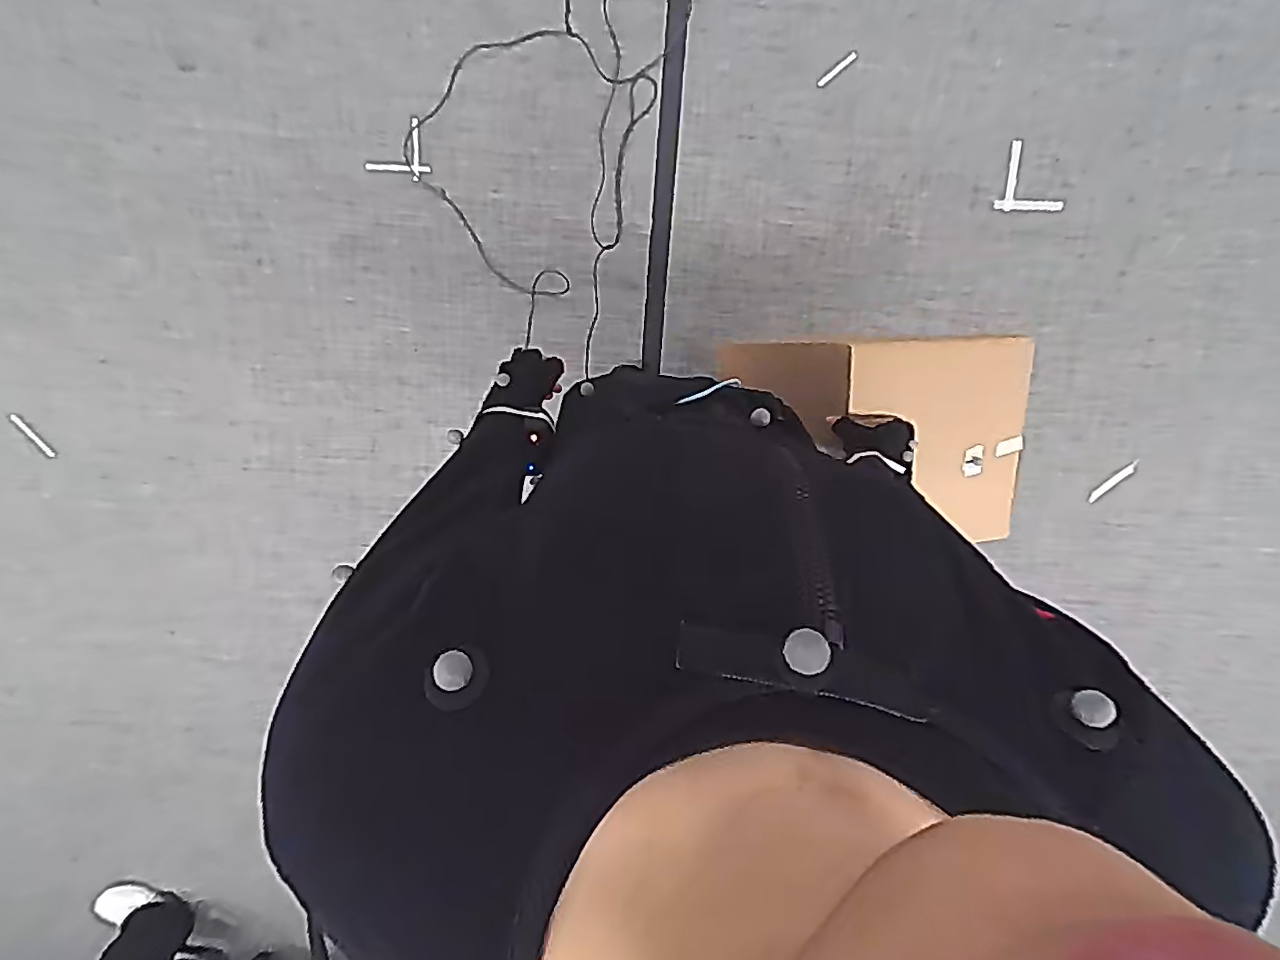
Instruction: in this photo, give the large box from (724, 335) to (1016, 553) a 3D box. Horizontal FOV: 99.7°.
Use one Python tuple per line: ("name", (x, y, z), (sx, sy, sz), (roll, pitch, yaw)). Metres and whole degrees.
("large box", (0.376, -0.094, 0.984), (0.320, 0.408, 0.320), (-5, 105, -13))
